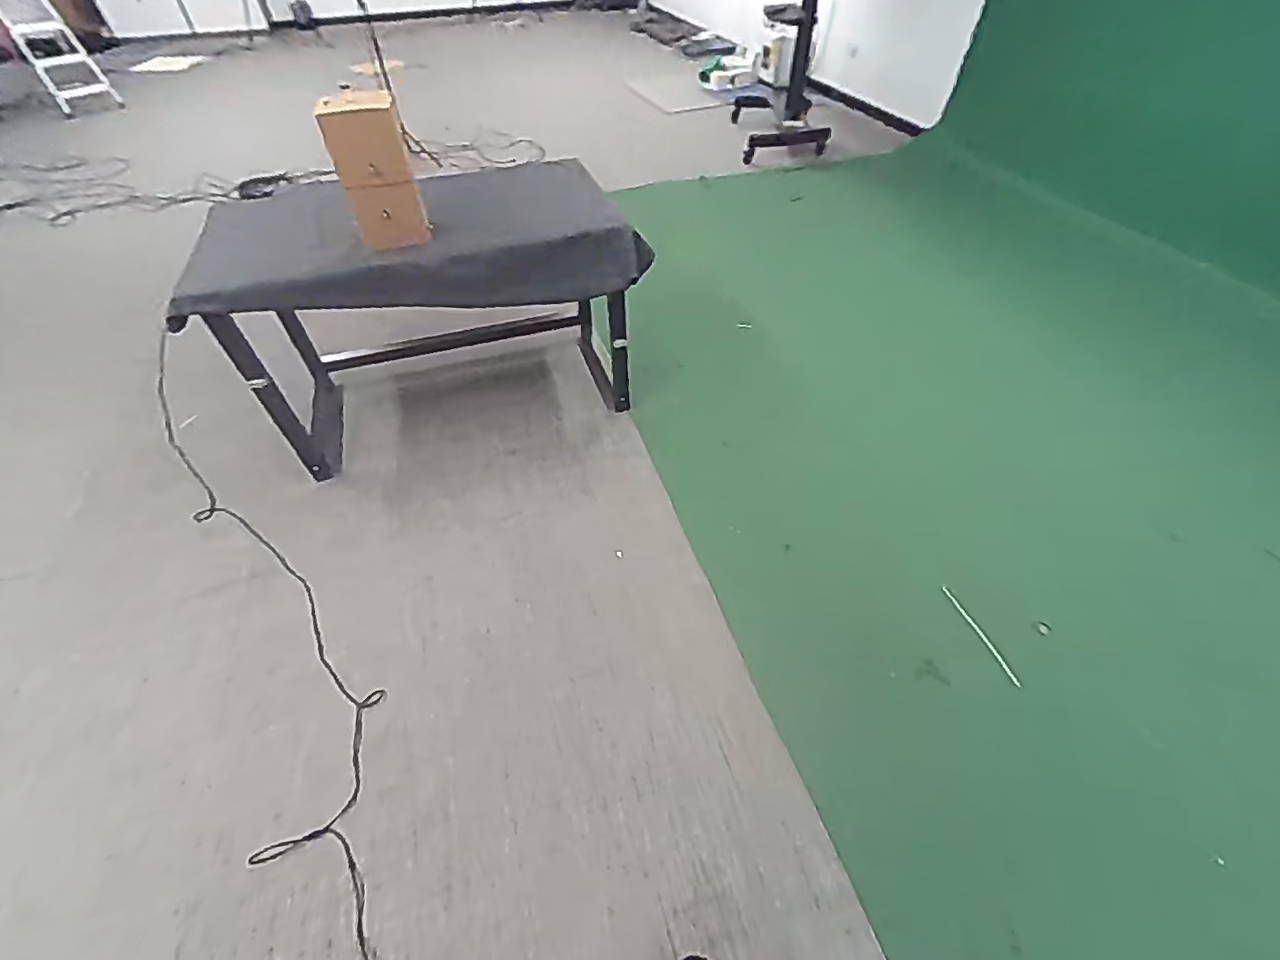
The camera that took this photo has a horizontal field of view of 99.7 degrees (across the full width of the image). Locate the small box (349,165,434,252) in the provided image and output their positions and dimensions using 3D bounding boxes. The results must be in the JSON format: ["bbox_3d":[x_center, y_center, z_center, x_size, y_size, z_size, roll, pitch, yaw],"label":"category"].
[{"bbox_3d":[-0.691,-0.768,1.530,0.179,0.176,0.168,-12,47,-9],"label":"small box"}]

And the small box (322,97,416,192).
[{"bbox_3d":[-0.694,-0.872,1.408,0.179,0.176,0.168,-13,49,-11],"label":"small box"}]
